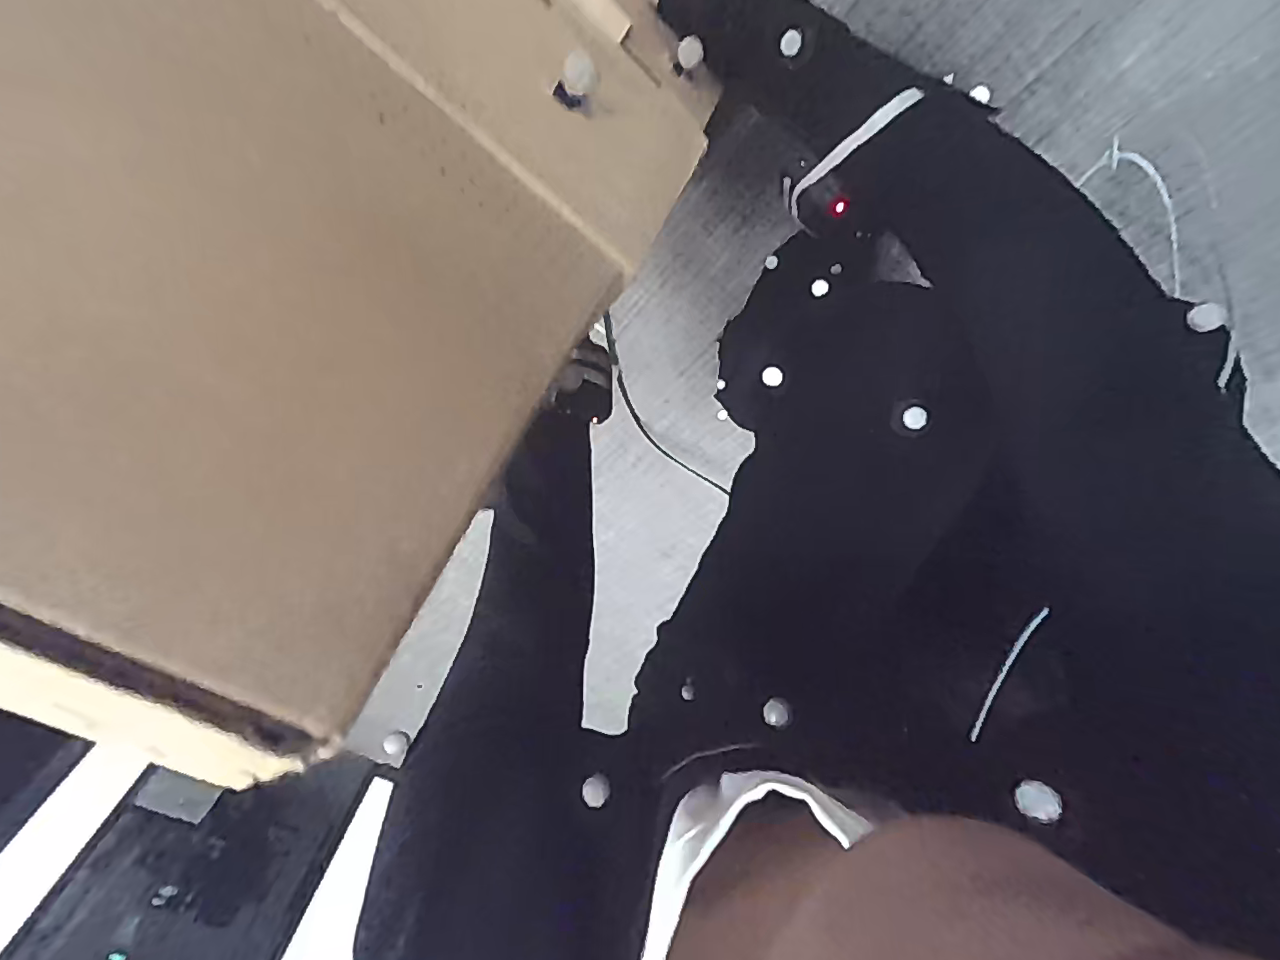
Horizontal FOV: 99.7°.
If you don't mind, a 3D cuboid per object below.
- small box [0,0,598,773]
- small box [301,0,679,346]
[{"bbox_3d":[-0.142,-0.032,0.171,0.179,0.176,0.168,36,136,-20],"label":"small box"},{"bbox_3d":[-0.096,-0.143,0.283,0.168,0.176,0.179,36,137,-20],"label":"small box"}]
